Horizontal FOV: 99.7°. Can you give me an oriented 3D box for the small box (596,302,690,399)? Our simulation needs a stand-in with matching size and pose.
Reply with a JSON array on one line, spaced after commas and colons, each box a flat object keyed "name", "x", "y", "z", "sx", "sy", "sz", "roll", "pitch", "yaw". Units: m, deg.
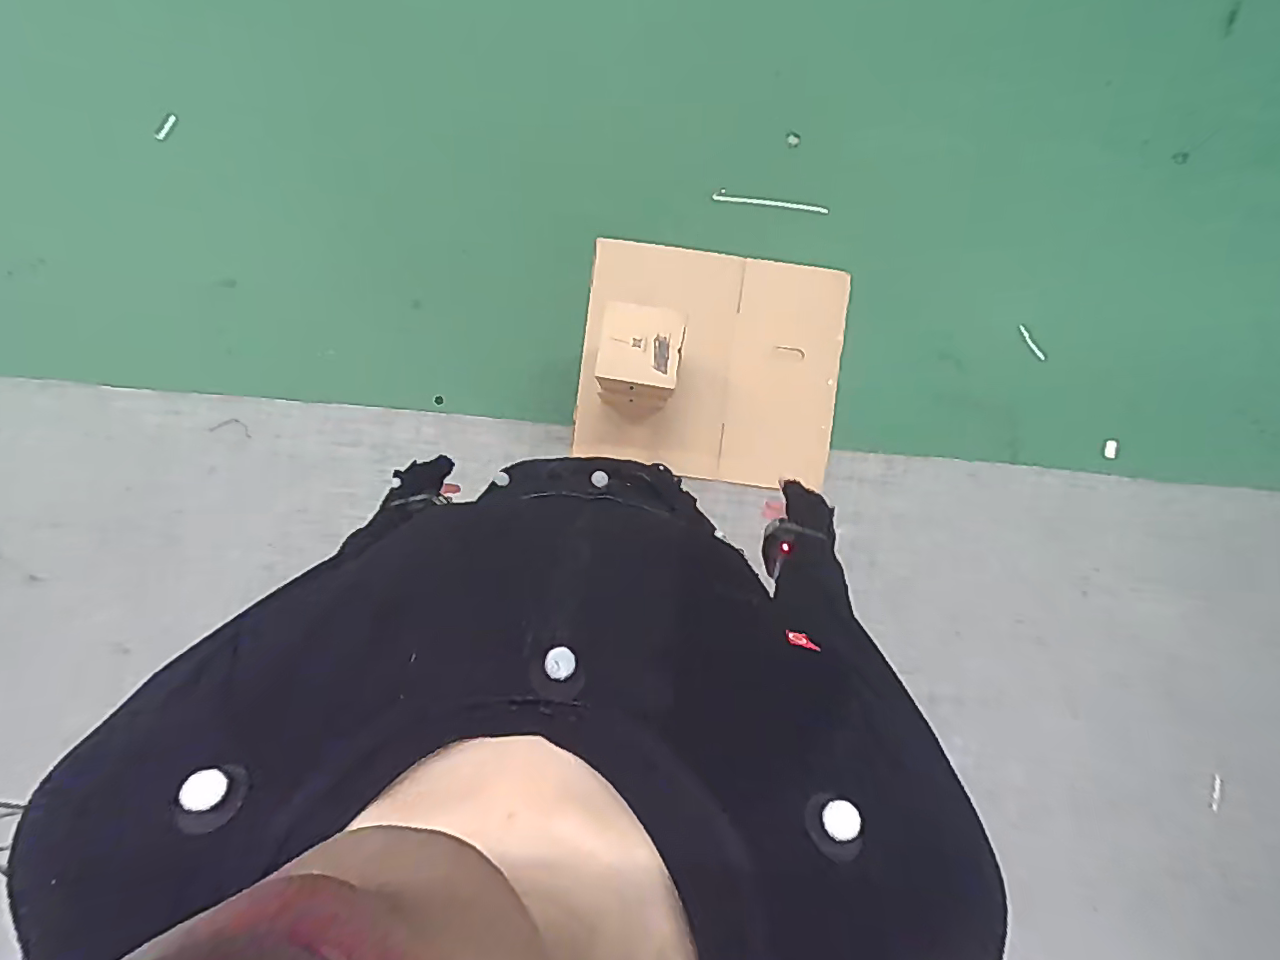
[{"name": "small box", "x": 0.007, "y": -0.281, "z": 1.210, "sx": 0.179, "sy": 0.176, "sz": 0.168, "roll": 10, "pitch": 91, "yaw": 1}]
